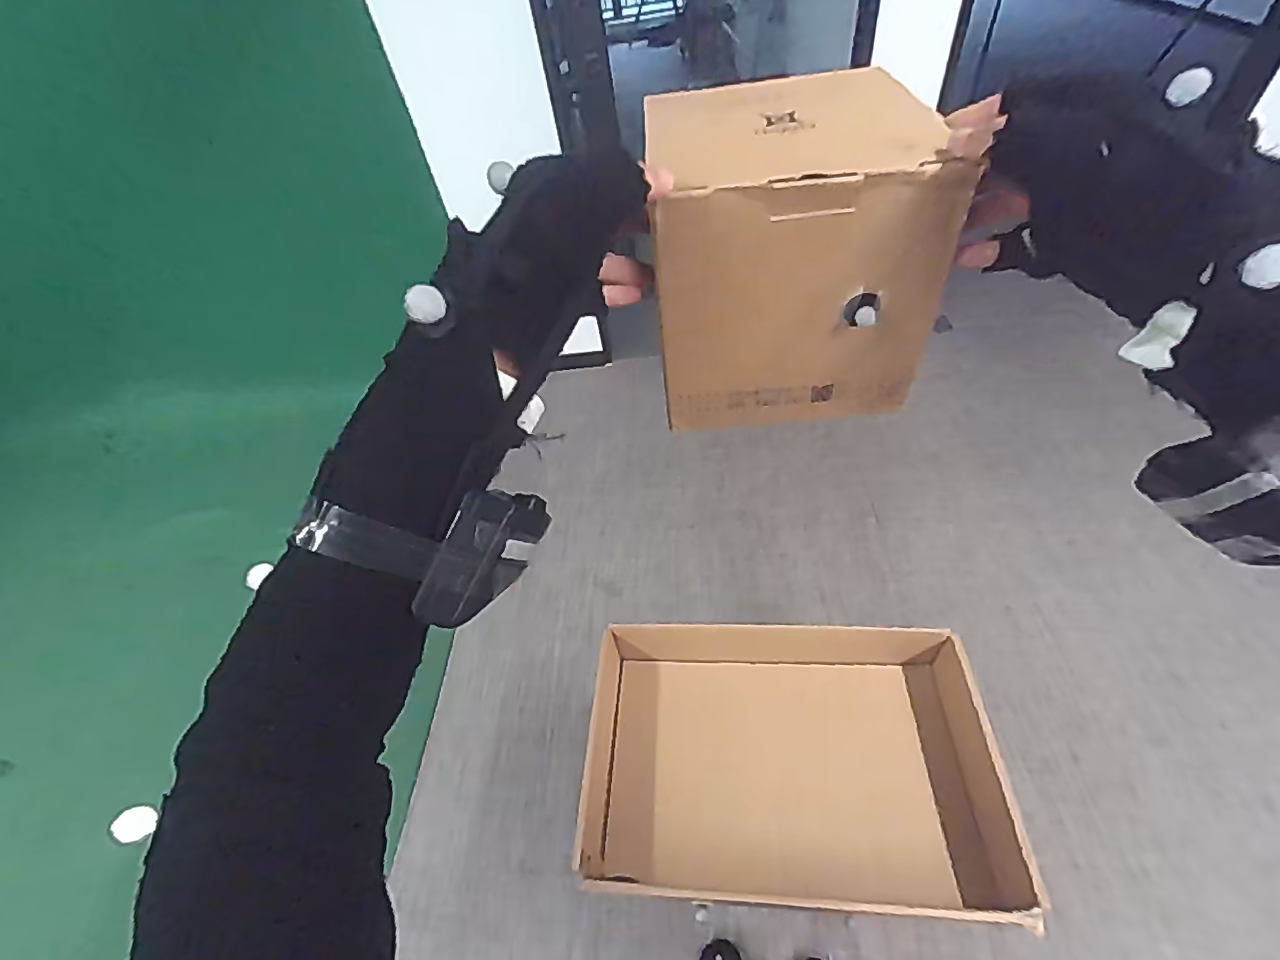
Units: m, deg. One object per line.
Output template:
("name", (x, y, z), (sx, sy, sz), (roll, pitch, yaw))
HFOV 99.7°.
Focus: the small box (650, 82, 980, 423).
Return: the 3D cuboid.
("small box", (0.097, -0.153, 0.385), (0.168, 0.176, 0.179), (-4, 47, 4))
